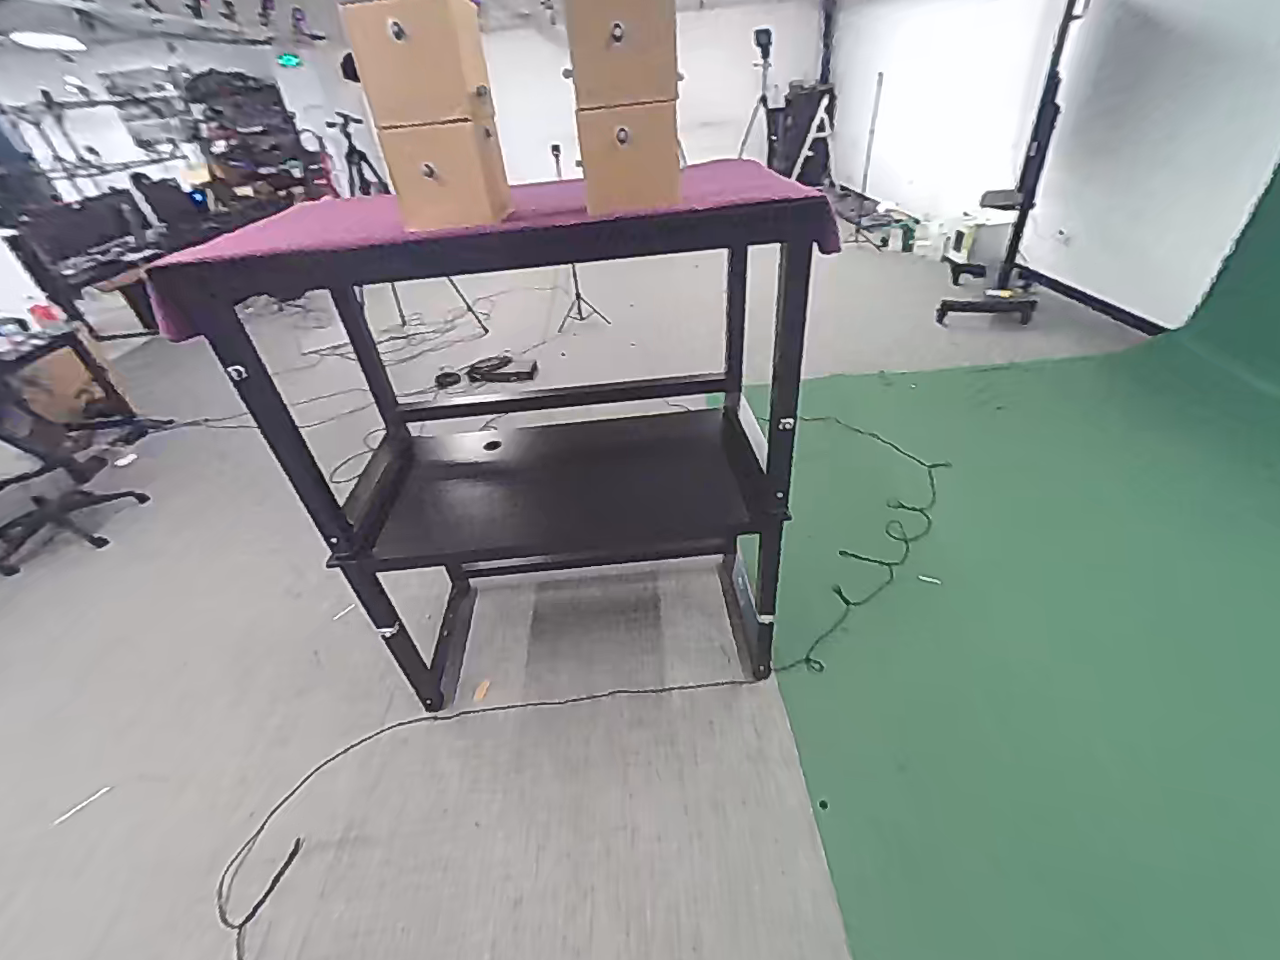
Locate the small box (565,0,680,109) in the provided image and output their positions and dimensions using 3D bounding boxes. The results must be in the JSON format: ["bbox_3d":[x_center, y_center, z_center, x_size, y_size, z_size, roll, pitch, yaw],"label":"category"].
[{"bbox_3d":[-0.027,-0.739,0.916,0.179,0.176,0.168,-8,36,0],"label":"small box"}]

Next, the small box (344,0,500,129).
[{"bbox_3d":[-0.362,-0.714,0.935,0.179,0.176,0.168,-2,36,4],"label":"small box"}]

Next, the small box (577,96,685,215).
[{"bbox_3d":[-0.014,-0.607,1.012,0.179,0.176,0.168,-6,37,1],"label":"small box"}]

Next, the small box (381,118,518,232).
[{"bbox_3d":[-0.350,-0.581,1.030,0.179,0.176,0.168,-4,35,4],"label":"small box"}]
